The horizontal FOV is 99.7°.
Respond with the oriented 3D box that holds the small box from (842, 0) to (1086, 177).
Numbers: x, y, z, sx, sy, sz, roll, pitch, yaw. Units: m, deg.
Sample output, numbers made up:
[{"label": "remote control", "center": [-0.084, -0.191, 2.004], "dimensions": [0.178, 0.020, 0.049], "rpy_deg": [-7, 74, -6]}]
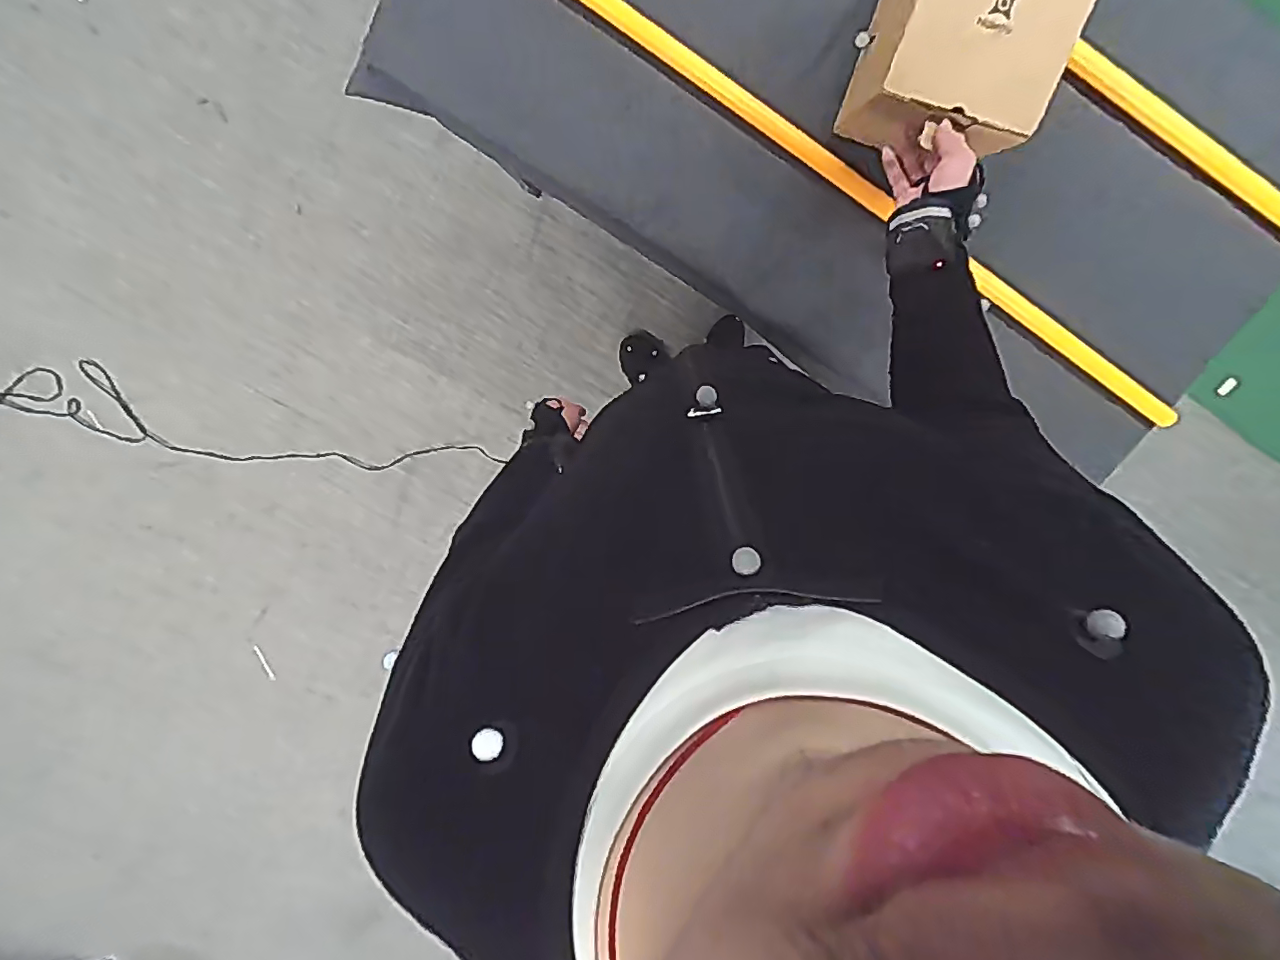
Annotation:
[{"label": "small box", "center": [0.348, -0.468, 0.613], "dimensions": [0.168, 0.176, 0.179], "rpy_deg": [14, 108, 0]}]
